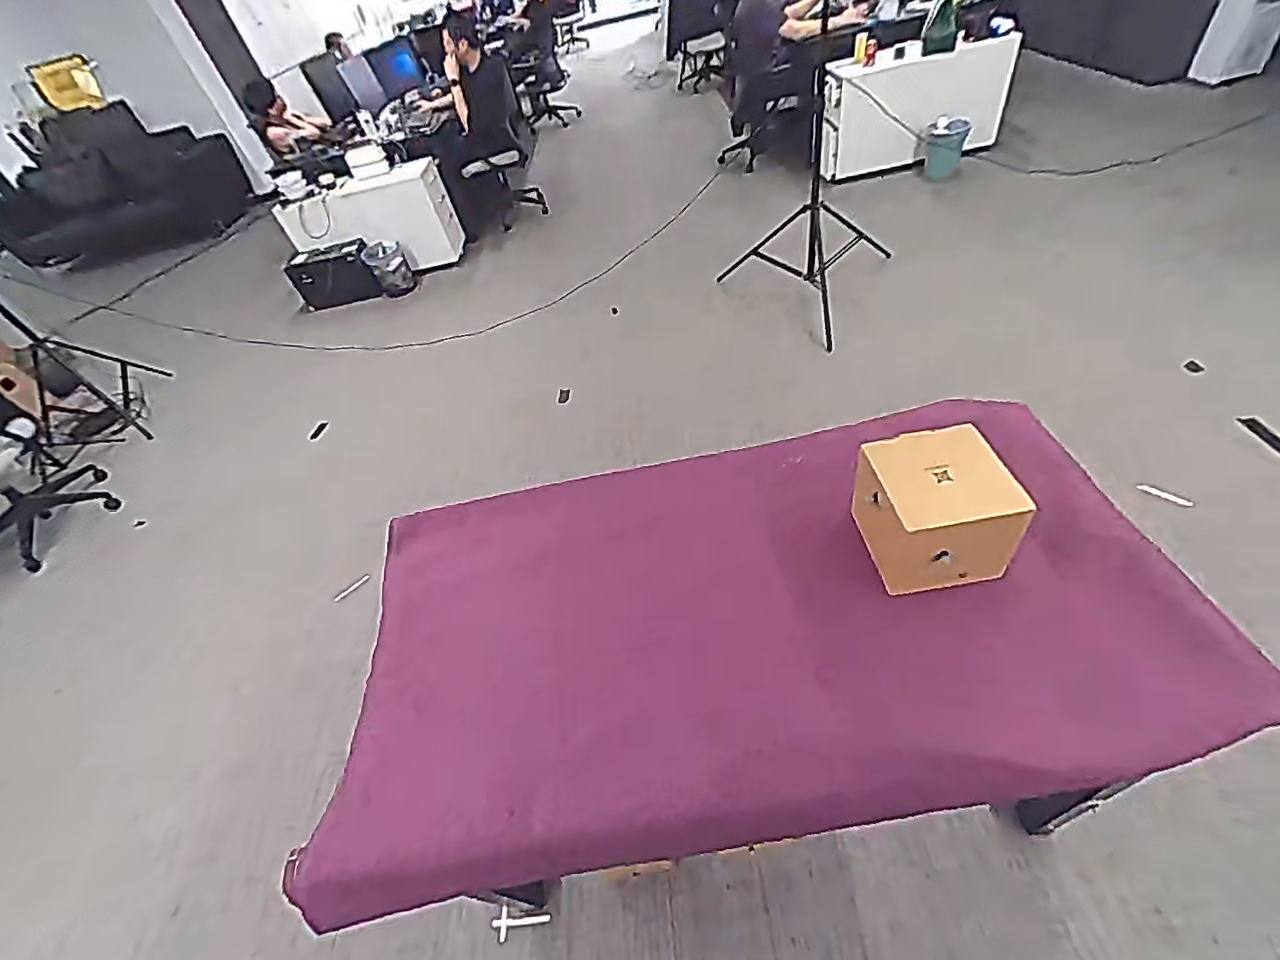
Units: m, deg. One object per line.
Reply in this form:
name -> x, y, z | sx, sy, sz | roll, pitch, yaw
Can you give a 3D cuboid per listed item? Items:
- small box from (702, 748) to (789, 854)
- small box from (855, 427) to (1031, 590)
small box -> 0.241, 0.739, 1.236 | 0.168, 0.176, 0.179 | -9, 45, 5
small box -> 0.439, 0.050, 0.819 | 0.168, 0.176, 0.179 | -11, 45, 5
